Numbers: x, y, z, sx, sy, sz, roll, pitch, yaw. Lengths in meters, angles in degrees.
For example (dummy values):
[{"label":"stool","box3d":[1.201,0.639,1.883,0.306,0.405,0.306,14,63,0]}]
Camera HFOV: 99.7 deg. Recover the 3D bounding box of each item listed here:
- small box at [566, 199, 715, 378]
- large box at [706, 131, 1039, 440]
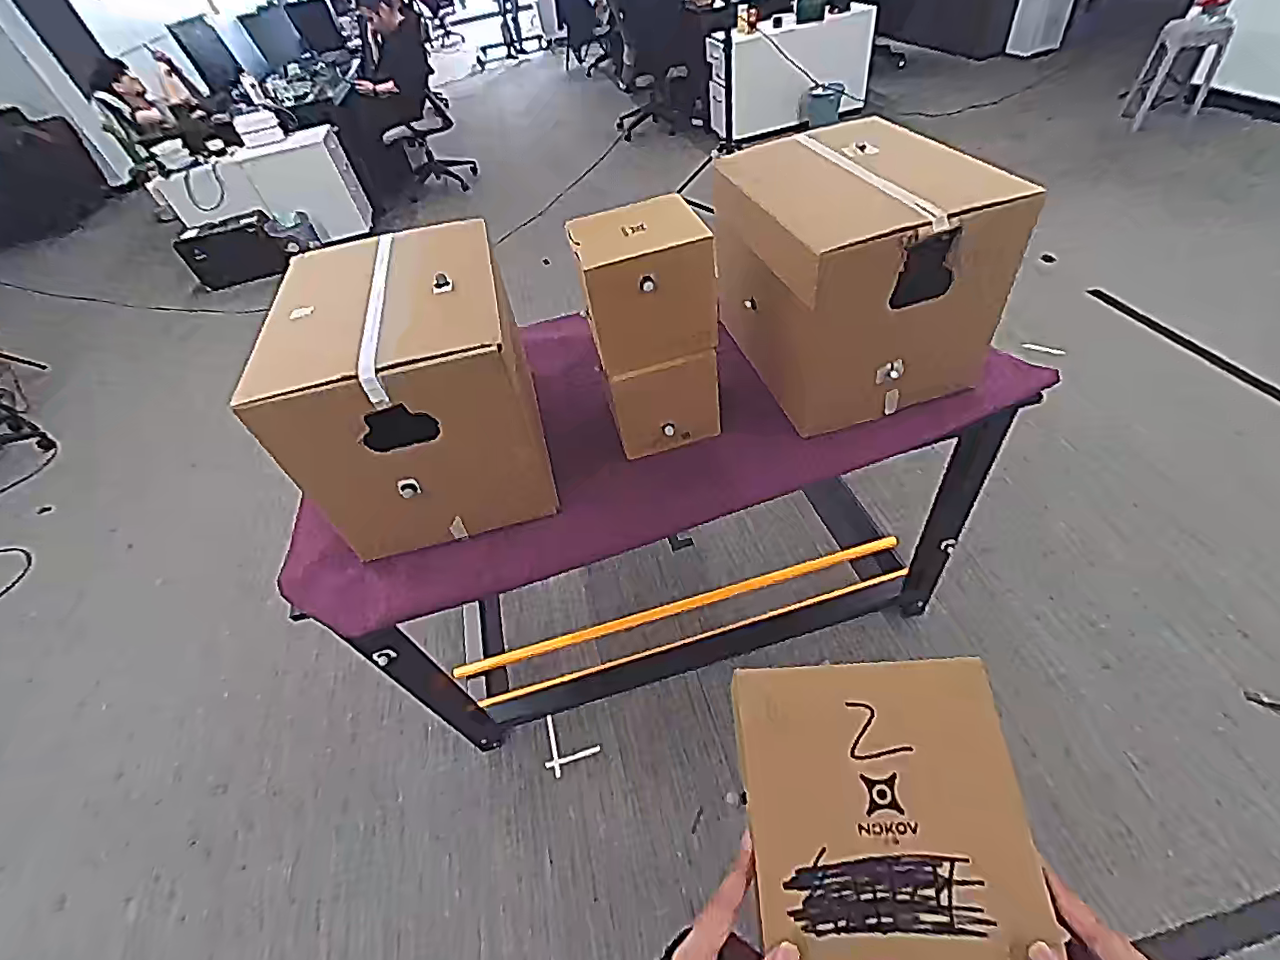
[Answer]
[{"label":"small box","box3d":[0.005,-0.278,0.795,0.179,0.176,0.168,-17,47,-2]},{"label":"large box","box3d":[0.334,-0.335,0.909,0.320,0.320,0.408,-16,46,-4]}]
